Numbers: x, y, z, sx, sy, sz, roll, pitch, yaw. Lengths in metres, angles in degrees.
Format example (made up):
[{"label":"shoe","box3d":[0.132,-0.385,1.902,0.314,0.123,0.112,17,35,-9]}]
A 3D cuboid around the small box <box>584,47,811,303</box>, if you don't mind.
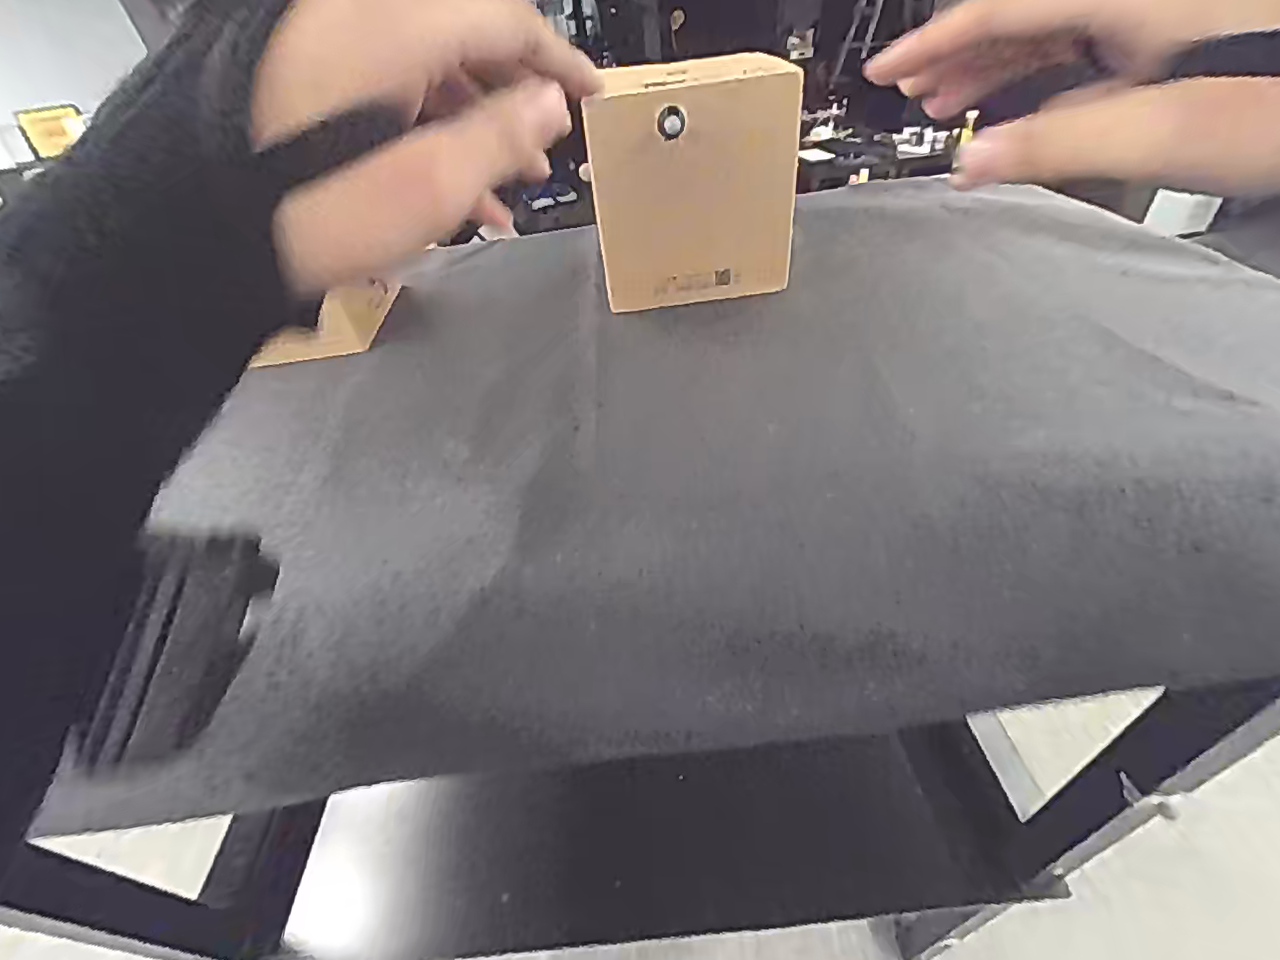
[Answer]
[{"label":"small box","box3d":[0.043,-0.281,0.498,0.168,0.176,0.179,-8,41,0]}]
